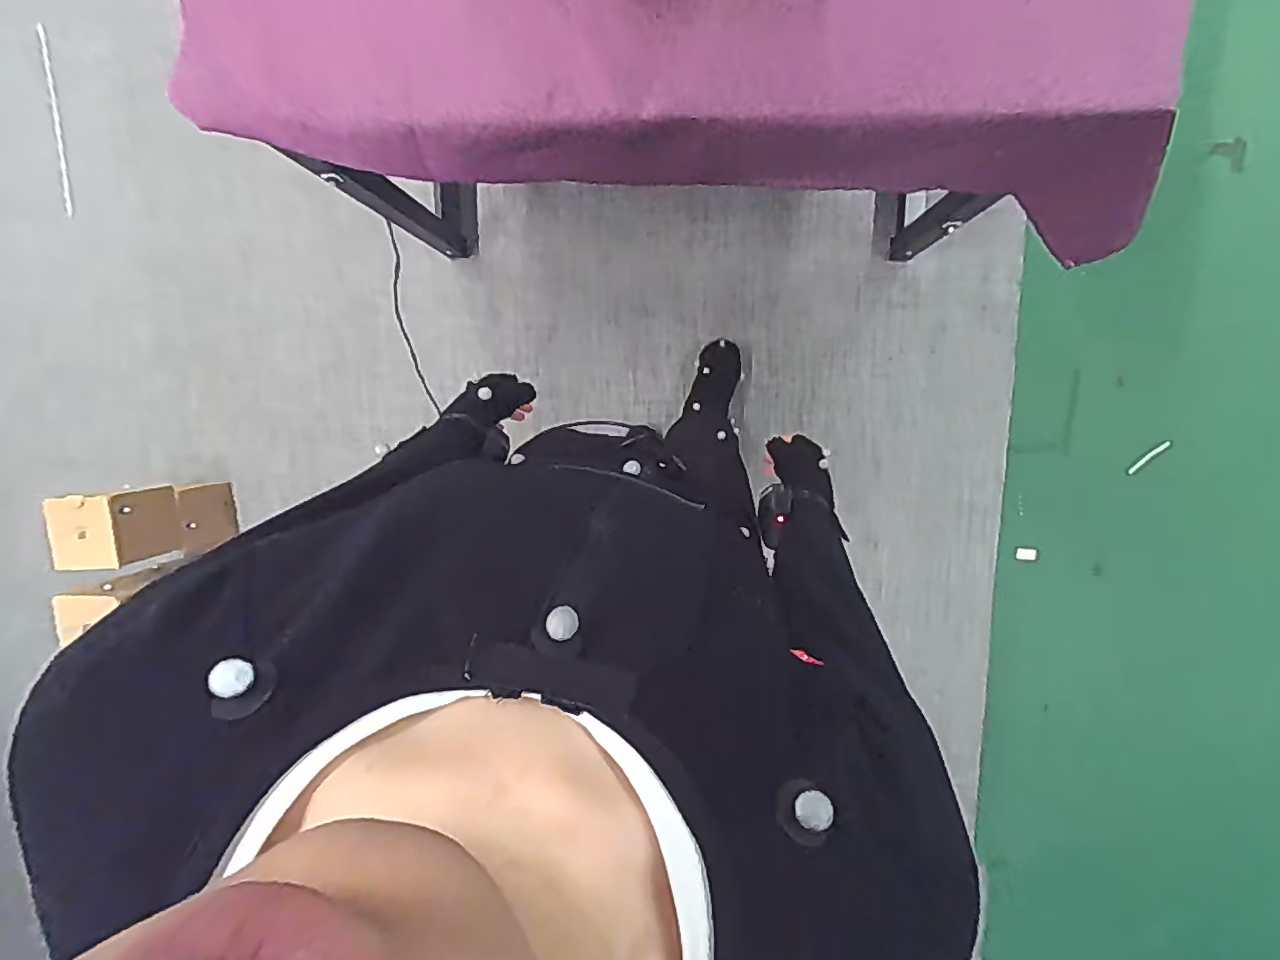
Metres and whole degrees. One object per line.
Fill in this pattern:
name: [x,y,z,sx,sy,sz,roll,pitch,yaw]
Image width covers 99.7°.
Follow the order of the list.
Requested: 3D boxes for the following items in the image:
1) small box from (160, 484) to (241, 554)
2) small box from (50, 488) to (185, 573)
small box: [-1.261,0.104,1.499,0.179,0.176,0.168,-1,98,5]
small box: [-1.278,0.121,1.337,0.168,0.176,0.179,-3,97,5]
